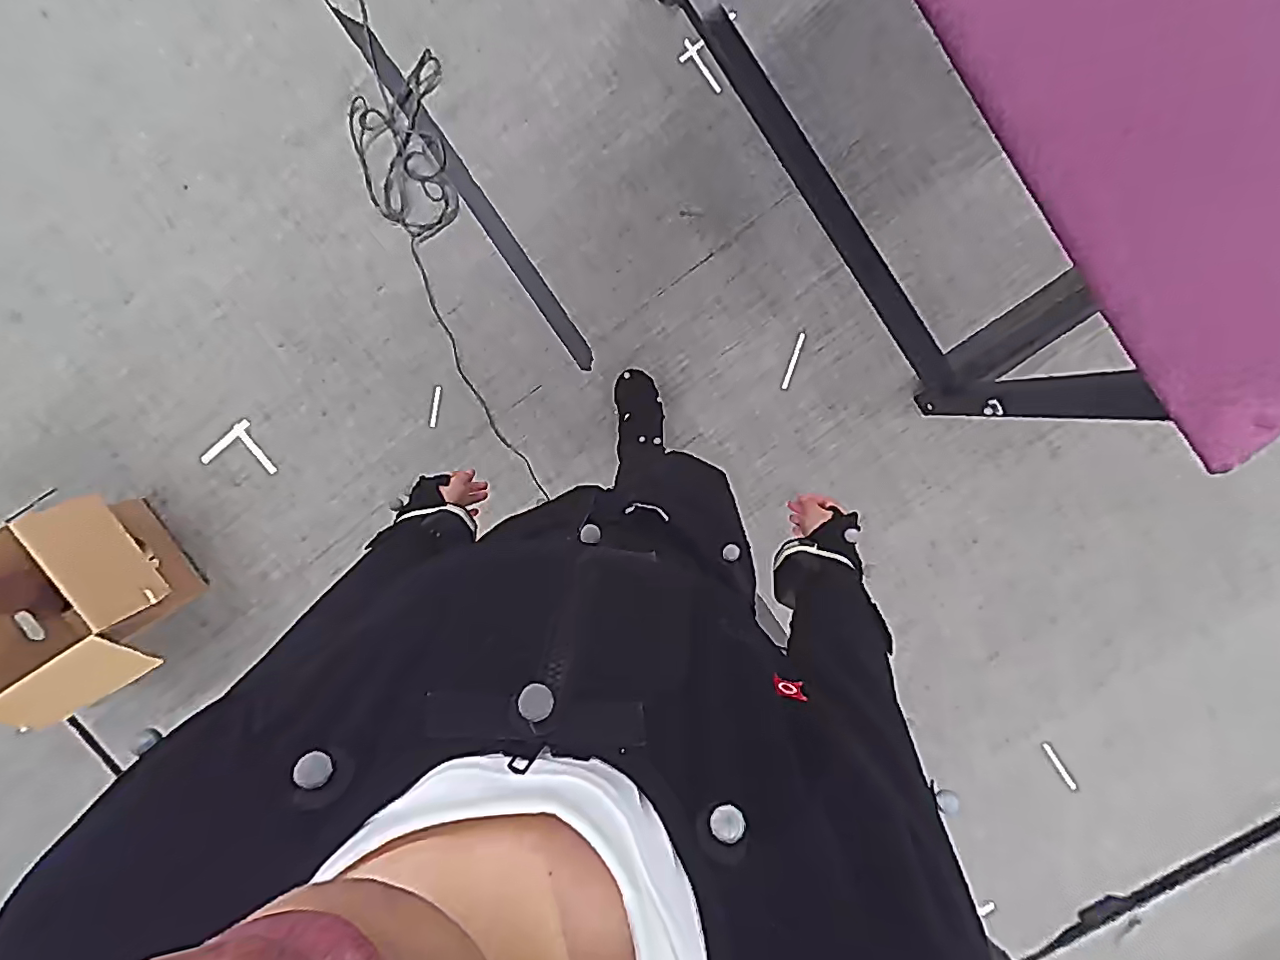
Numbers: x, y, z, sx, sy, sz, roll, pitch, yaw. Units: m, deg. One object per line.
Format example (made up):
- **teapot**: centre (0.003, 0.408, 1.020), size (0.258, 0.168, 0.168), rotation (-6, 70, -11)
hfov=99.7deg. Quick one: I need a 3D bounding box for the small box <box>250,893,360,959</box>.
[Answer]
- **small box**: centre (-0.836, 1.182, 1.326), size (0.179, 0.176, 0.168), rotation (-38, 94, 7)
